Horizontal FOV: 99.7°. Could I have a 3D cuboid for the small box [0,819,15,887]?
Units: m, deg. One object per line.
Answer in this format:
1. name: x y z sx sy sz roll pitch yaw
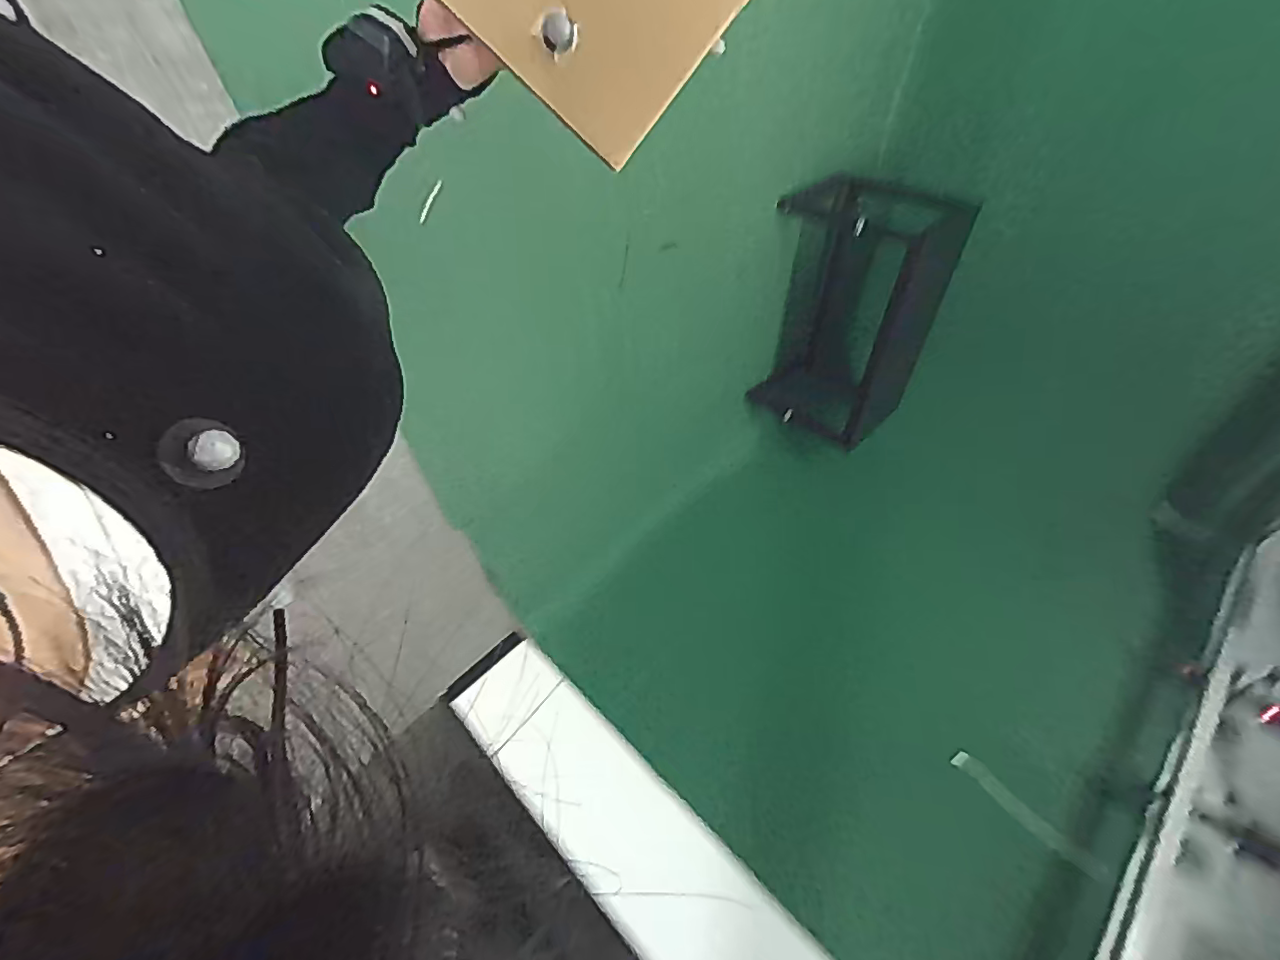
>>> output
1. small box: -1.033 0.535 0.731 0.179 0.176 0.168 -44 150 -23
